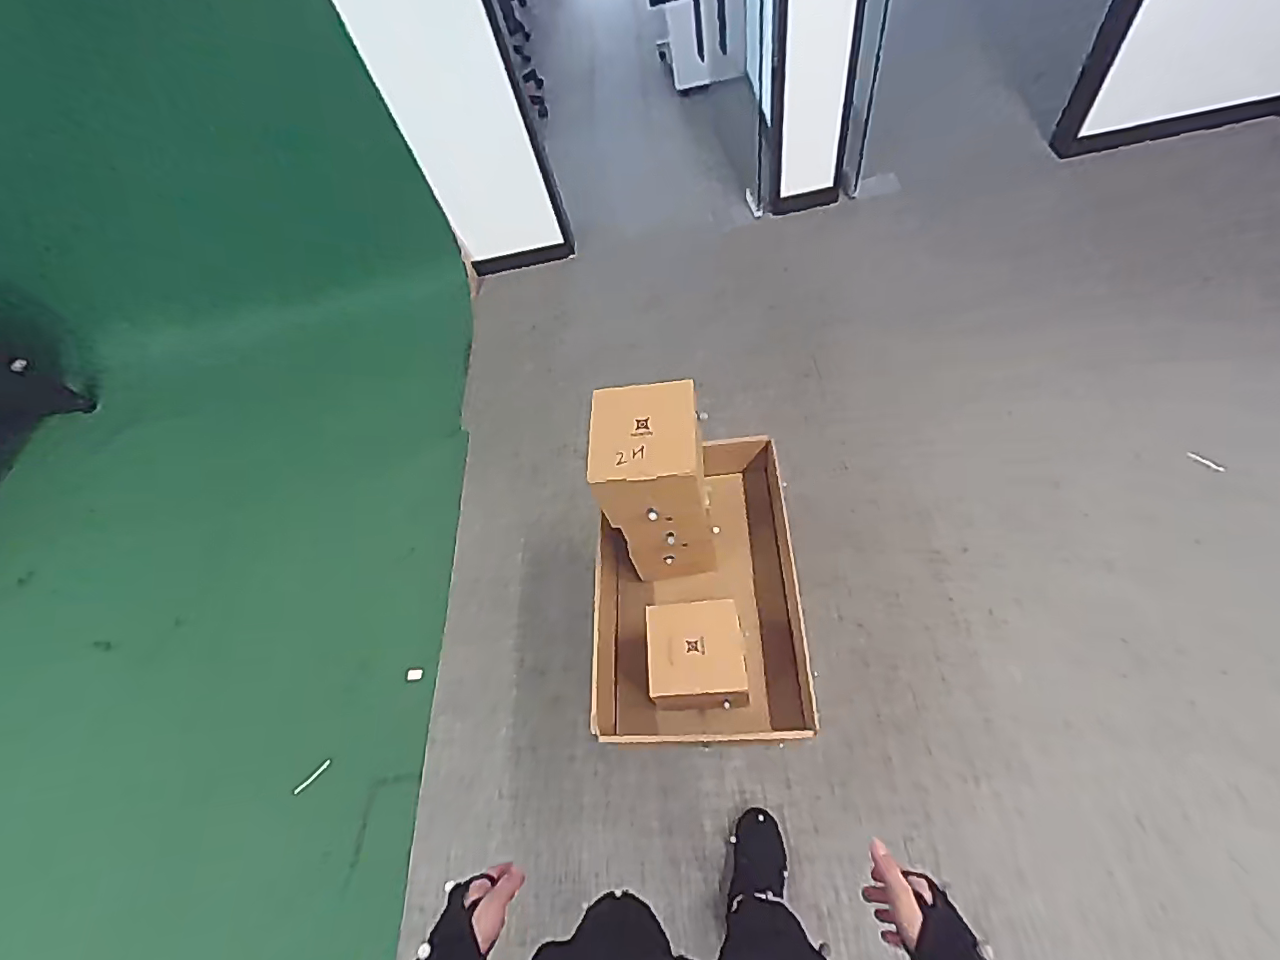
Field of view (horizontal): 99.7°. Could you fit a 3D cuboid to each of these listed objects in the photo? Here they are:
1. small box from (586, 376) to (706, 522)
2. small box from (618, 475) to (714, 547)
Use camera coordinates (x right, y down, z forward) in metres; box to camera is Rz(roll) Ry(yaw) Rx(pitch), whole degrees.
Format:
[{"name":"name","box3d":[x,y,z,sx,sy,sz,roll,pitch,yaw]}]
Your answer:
[{"name":"small box","box3d":[0.018,-0.045,0.889,0.168,0.176,0.179,-5,61,11]},{"name":"small box","box3d":[0.046,0.019,1.040,0.168,0.176,0.179,-10,60,6]}]
